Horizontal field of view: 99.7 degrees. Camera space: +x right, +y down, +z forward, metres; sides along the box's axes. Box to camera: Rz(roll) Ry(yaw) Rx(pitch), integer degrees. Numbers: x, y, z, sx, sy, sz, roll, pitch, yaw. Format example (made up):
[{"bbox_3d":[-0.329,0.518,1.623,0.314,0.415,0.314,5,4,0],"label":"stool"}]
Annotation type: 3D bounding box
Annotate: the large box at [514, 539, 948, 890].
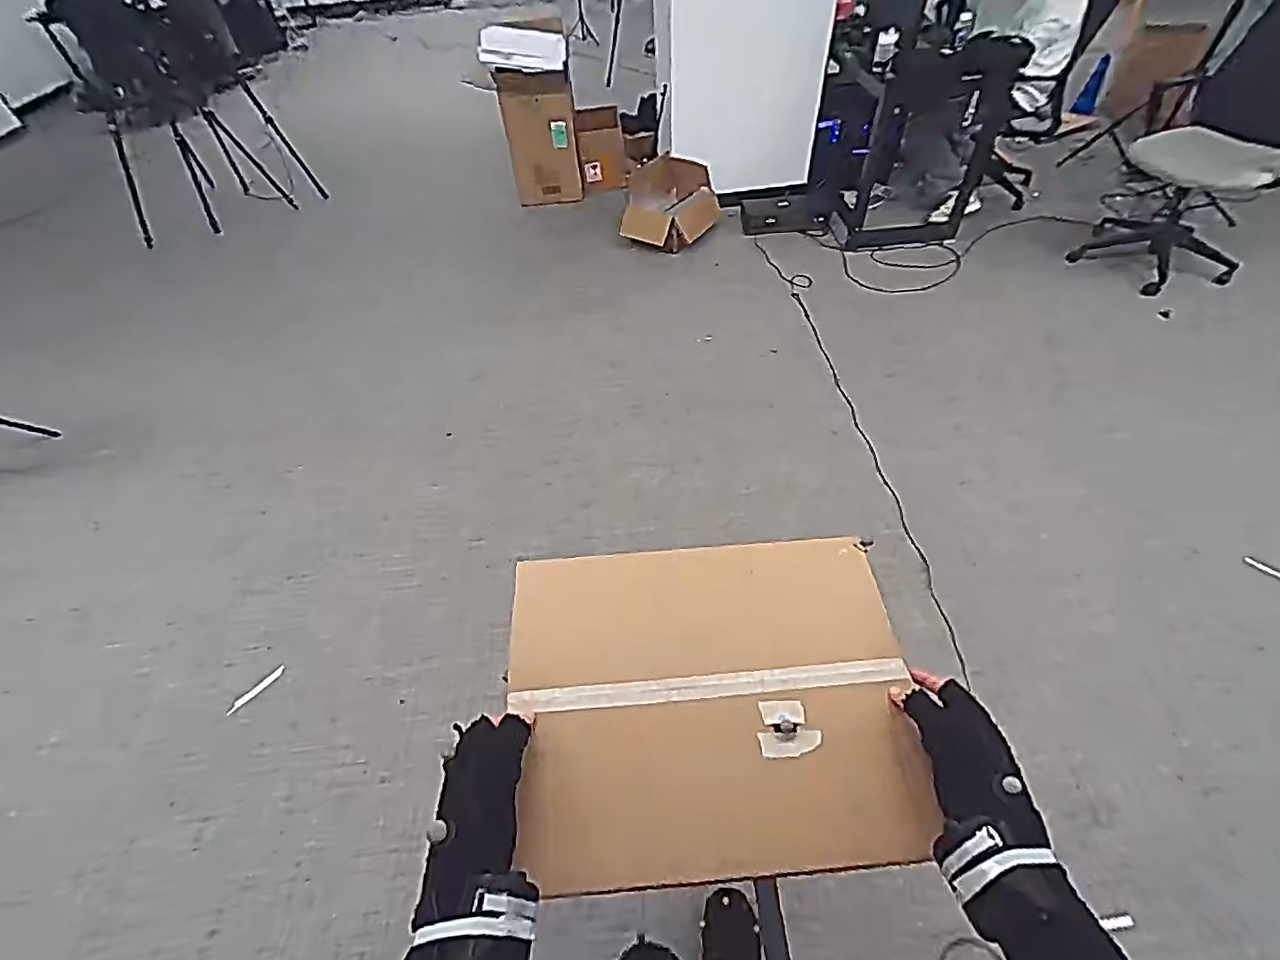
[{"bbox_3d":[0.071,0.300,0.686,0.408,0.320,0.320,-4,55,-3],"label":"large box"}]
